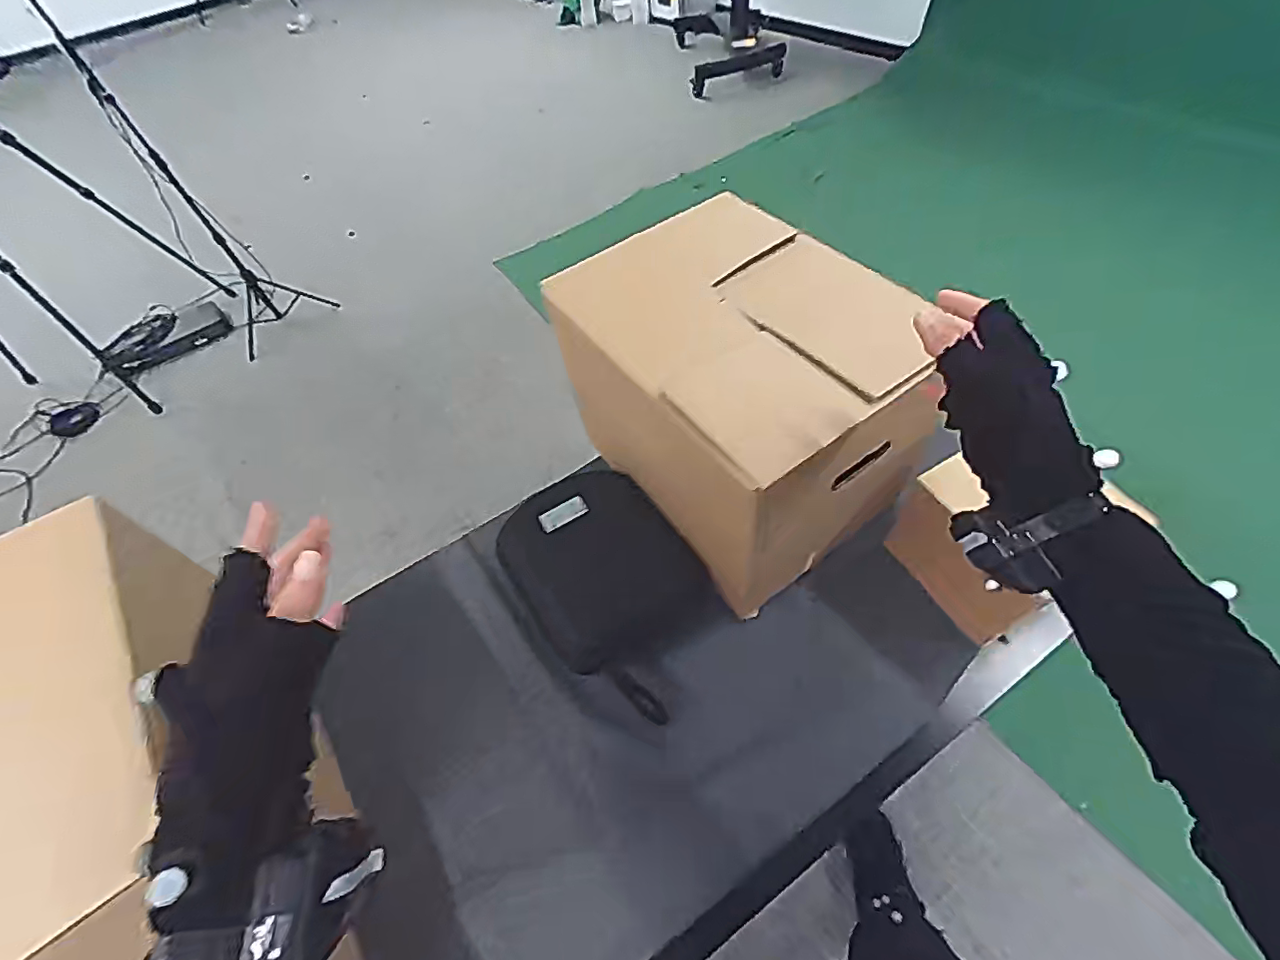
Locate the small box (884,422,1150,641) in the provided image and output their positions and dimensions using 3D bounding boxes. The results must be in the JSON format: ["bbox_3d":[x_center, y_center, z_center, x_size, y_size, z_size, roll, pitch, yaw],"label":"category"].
[{"bbox_3d":[0.437,0.067,0.666,0.168,0.176,0.179,-27,59,-11],"label":"small box"}]
